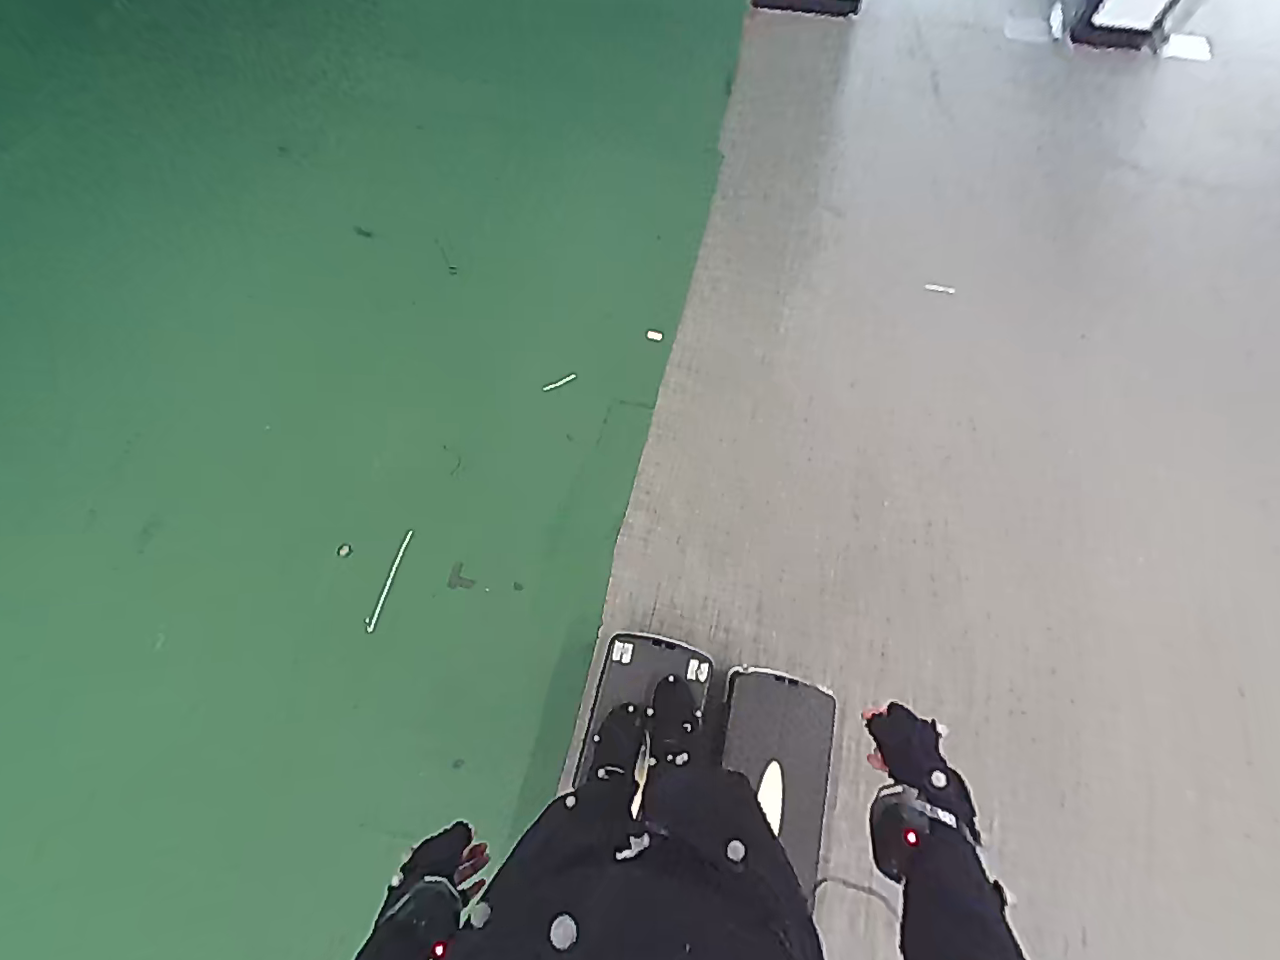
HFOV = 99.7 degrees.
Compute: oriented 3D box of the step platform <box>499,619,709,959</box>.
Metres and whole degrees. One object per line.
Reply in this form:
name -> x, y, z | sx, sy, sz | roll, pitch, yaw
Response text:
step platform -> -0.055, 0.661, 1.160 | 0.286, 0.204, 0.684 | 13, 72, 5
